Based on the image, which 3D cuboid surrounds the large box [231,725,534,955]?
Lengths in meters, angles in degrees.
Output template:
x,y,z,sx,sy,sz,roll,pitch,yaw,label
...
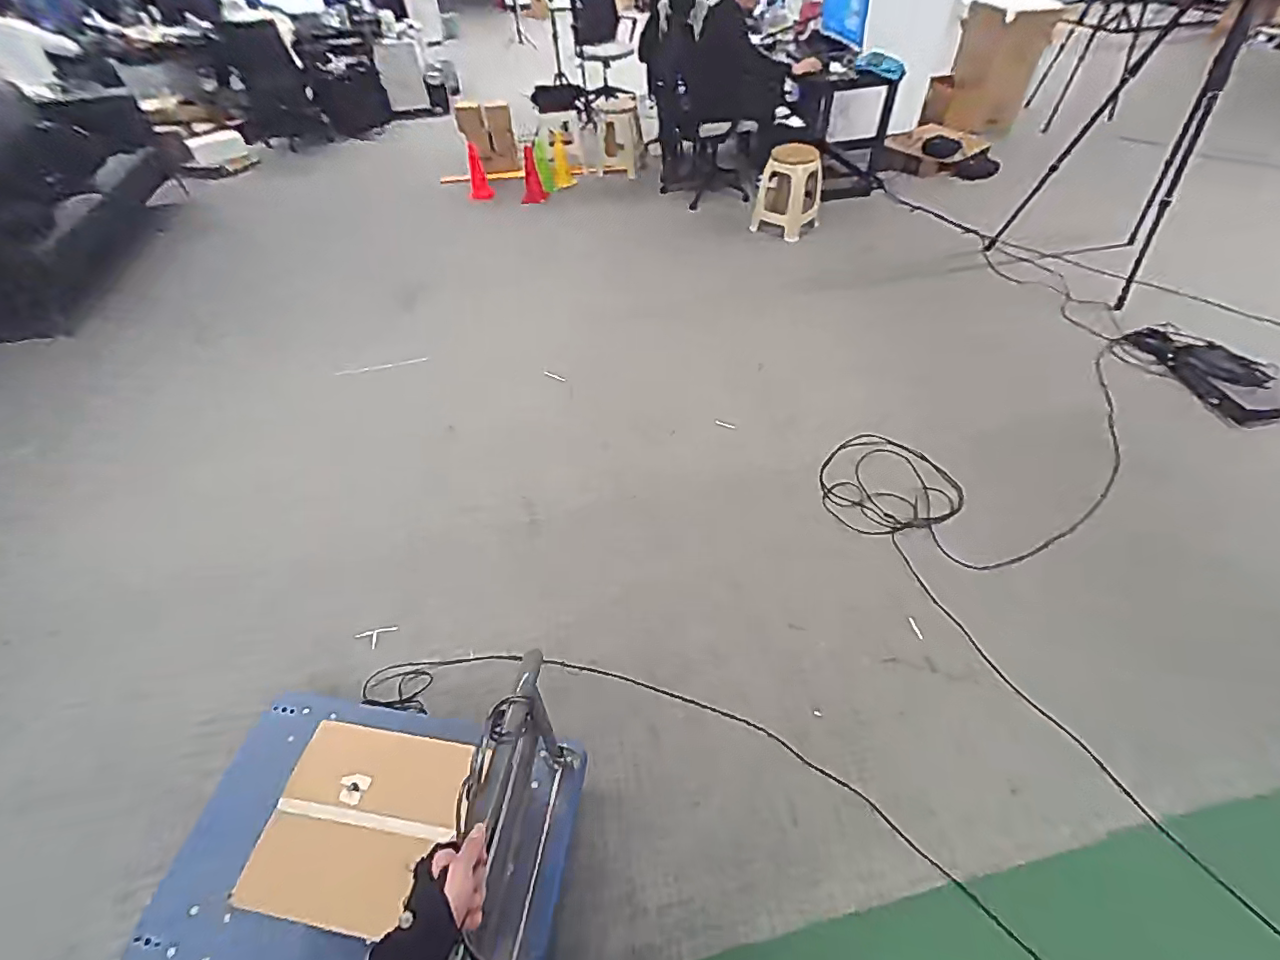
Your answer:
x,y,z,sx,sy,sz,roll,pitch,yaw,label
-0.473,0.731,1.103,0.408,0.320,0.320,5,48,9,large box
